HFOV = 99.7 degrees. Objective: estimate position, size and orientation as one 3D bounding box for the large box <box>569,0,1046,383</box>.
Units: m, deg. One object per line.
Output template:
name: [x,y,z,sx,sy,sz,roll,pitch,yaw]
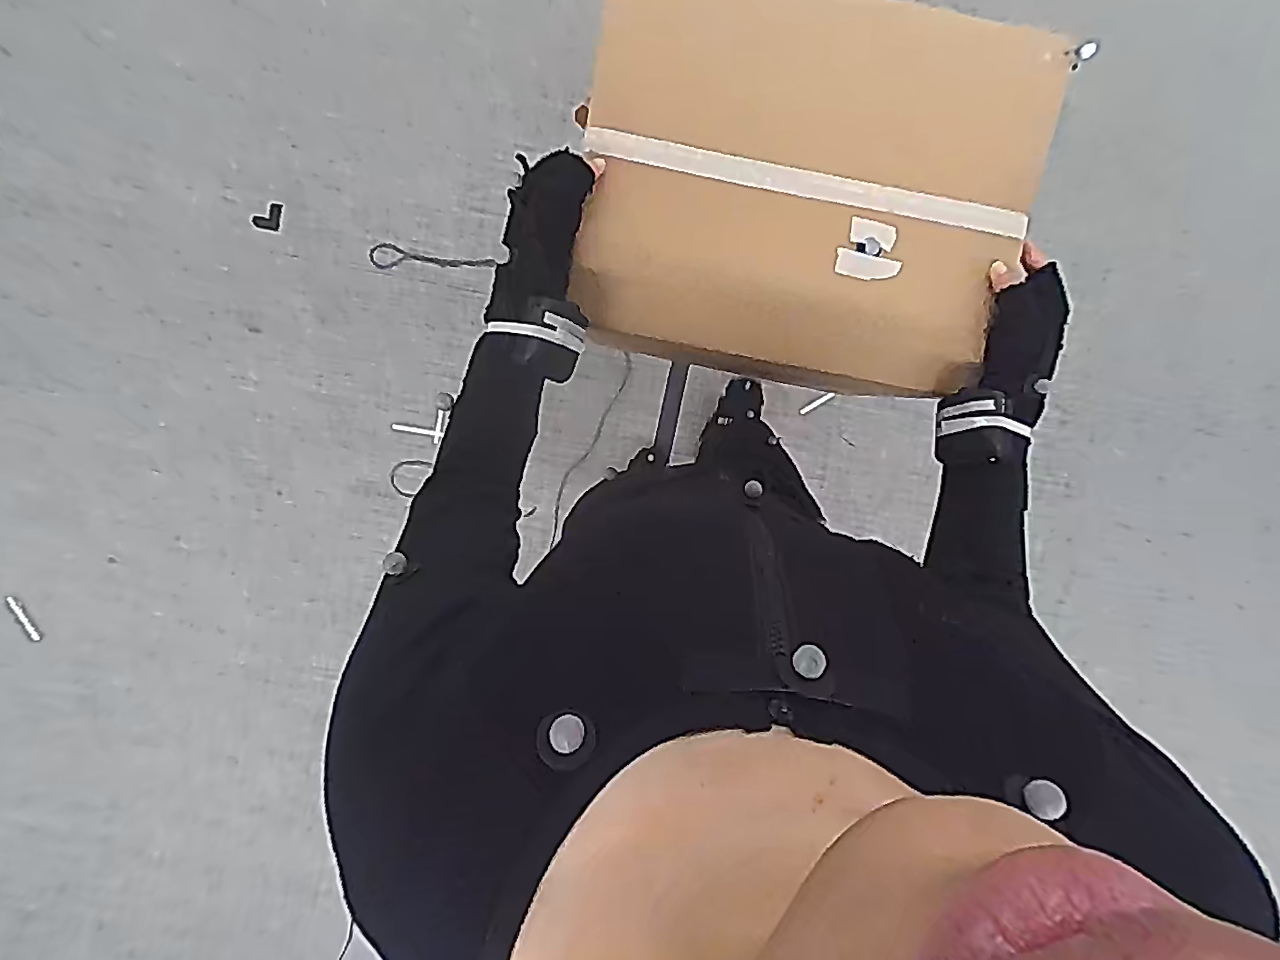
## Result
large box: [0.146,-0.304,0.653,0.408,0.320,0.320,10,100,-2]
